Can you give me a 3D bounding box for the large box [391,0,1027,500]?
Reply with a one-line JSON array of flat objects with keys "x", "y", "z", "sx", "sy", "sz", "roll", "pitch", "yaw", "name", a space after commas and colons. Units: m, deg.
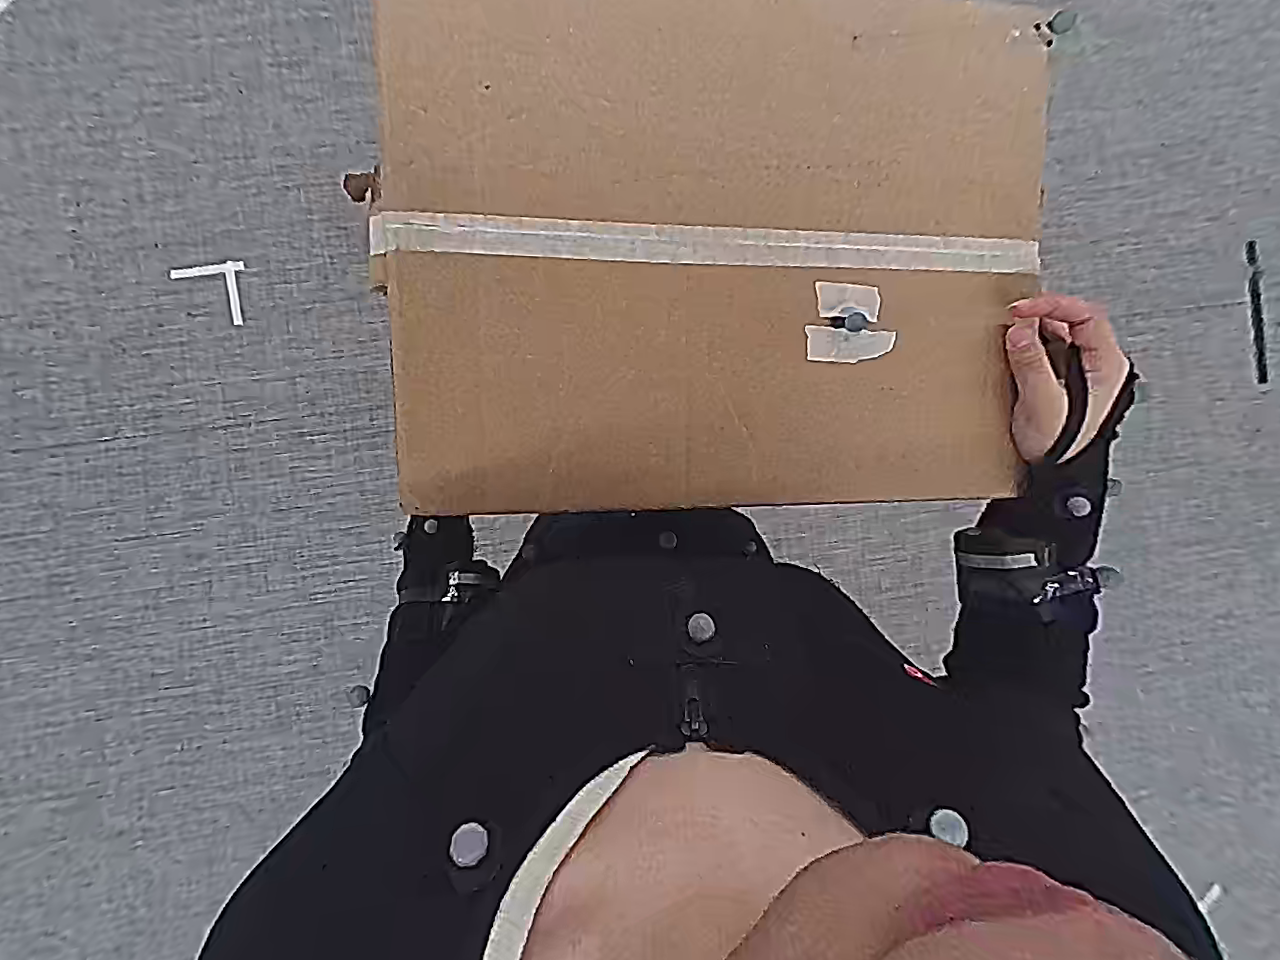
[{"x": 0.035, "y": -0.160, "z": 0.480, "sx": 0.408, "sy": 0.320, "sz": 0.320, "roll": -2, "pitch": 95, "yaw": -10, "name": "large box"}]
